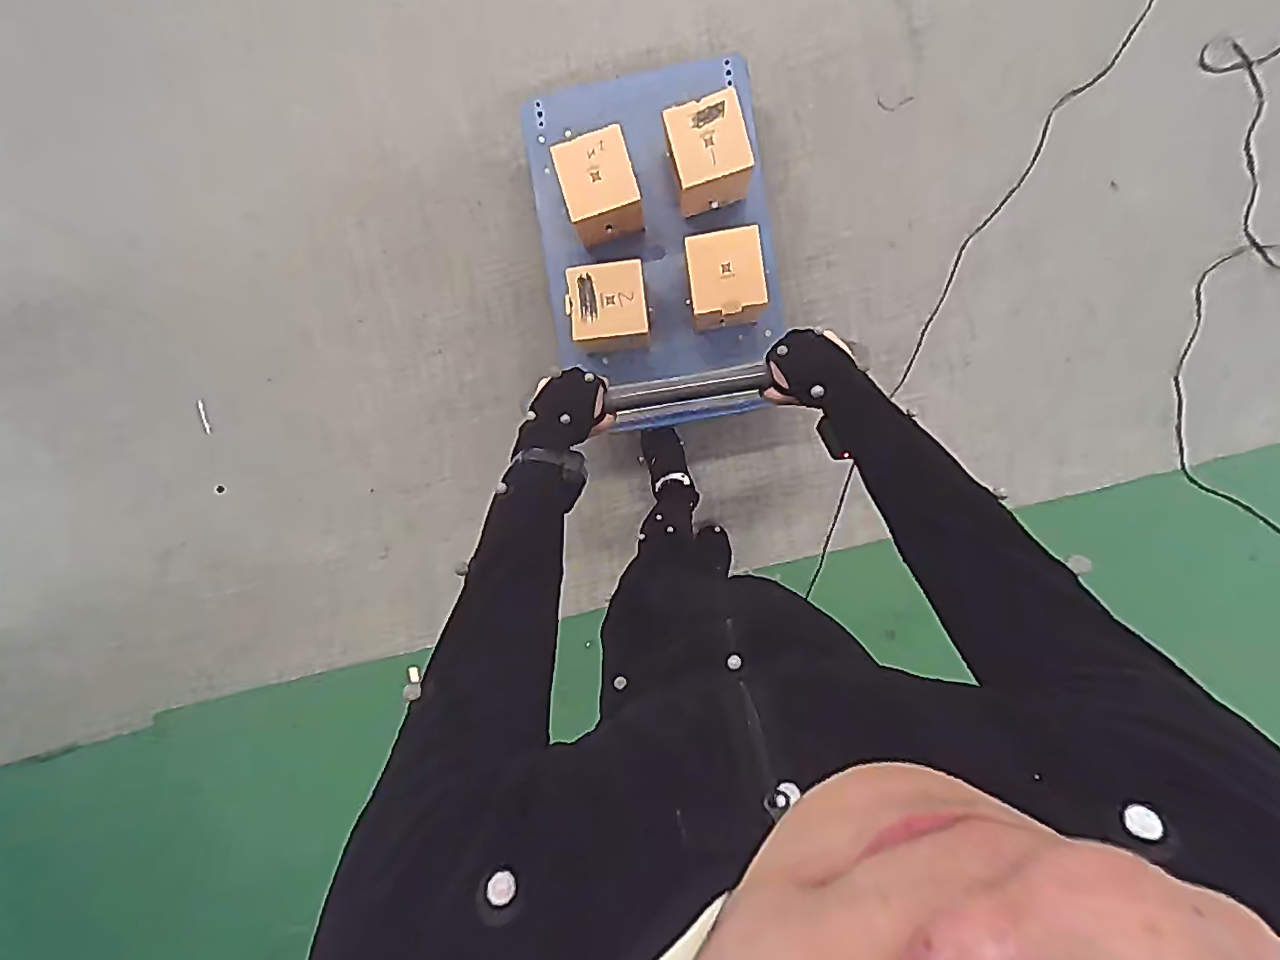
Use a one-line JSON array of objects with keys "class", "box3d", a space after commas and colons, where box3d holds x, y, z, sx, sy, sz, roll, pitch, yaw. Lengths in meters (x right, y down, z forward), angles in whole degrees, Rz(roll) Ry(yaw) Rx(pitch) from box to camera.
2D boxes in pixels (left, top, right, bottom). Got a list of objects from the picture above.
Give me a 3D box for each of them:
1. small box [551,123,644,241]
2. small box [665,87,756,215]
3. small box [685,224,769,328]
[{"class": "small box", "box3d": [-0.092, -0.691, 1.282, 0.168, 0.176, 0.179, -16, 93, 4]}, {"class": "small box", "box3d": [0.158, -0.756, 1.261, 0.168, 0.176, 0.179, -15, 94, 6]}, {"class": "small box", "box3d": [0.200, -0.474, 1.279, 0.168, 0.176, 0.179, -9, 94, 4]}]
